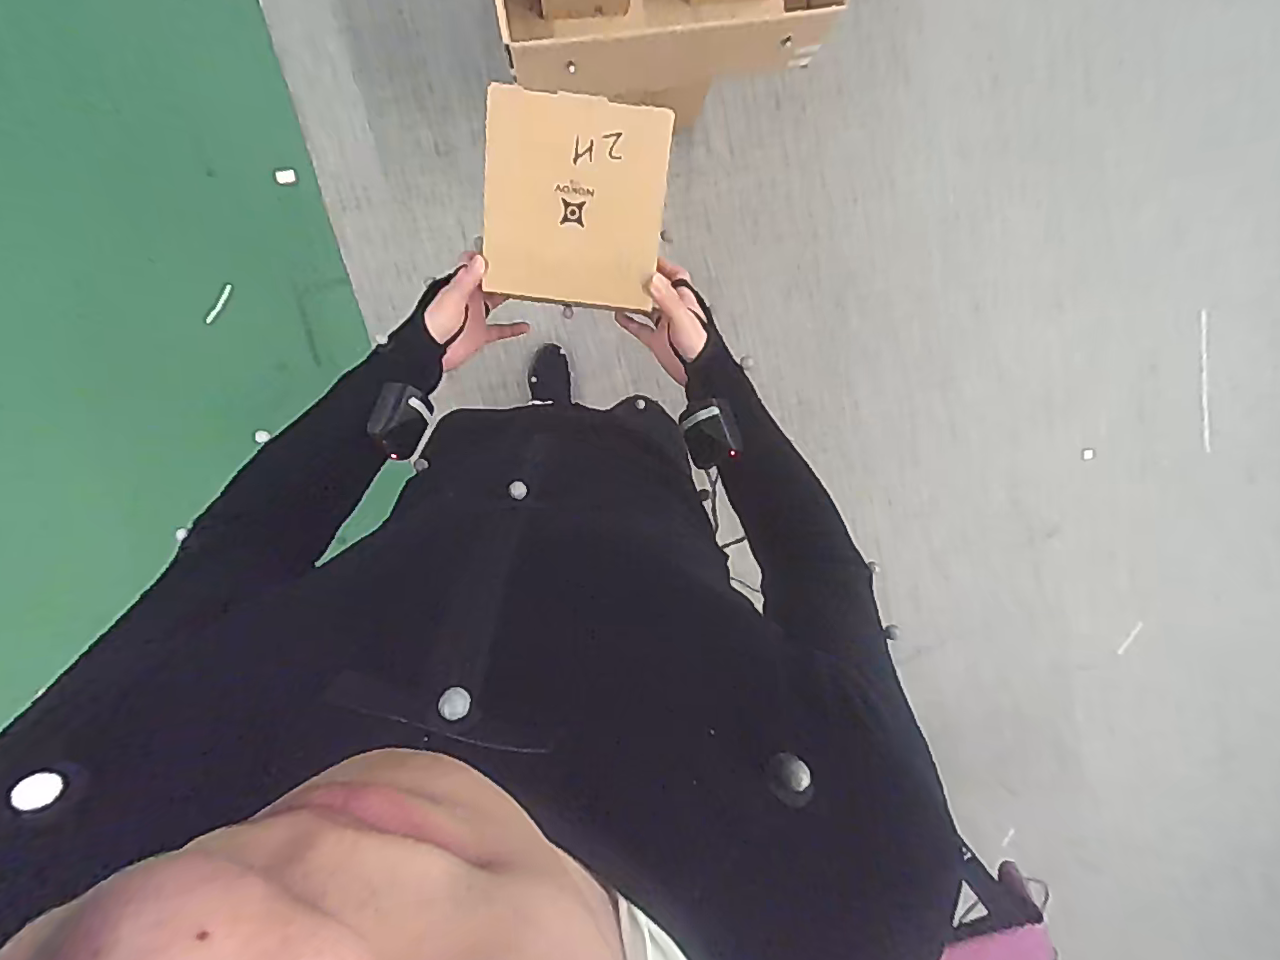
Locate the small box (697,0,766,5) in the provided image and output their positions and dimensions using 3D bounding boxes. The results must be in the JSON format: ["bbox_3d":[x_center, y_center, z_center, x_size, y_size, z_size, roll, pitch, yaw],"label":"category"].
[{"bbox_3d":[0.173,-0.983,0.951,0.168,0.176,0.179,-10,102,-4],"label":"small box"}]

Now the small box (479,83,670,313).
[{"bbox_3d":[-0.067,-0.277,0.577,0.168,0.176,0.179,6,105,-5],"label":"small box"}]

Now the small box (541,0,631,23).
[{"bbox_3d":[-0.102,-0.939,0.928,0.168,0.176,0.179,-7,102,-4],"label":"small box"}]
